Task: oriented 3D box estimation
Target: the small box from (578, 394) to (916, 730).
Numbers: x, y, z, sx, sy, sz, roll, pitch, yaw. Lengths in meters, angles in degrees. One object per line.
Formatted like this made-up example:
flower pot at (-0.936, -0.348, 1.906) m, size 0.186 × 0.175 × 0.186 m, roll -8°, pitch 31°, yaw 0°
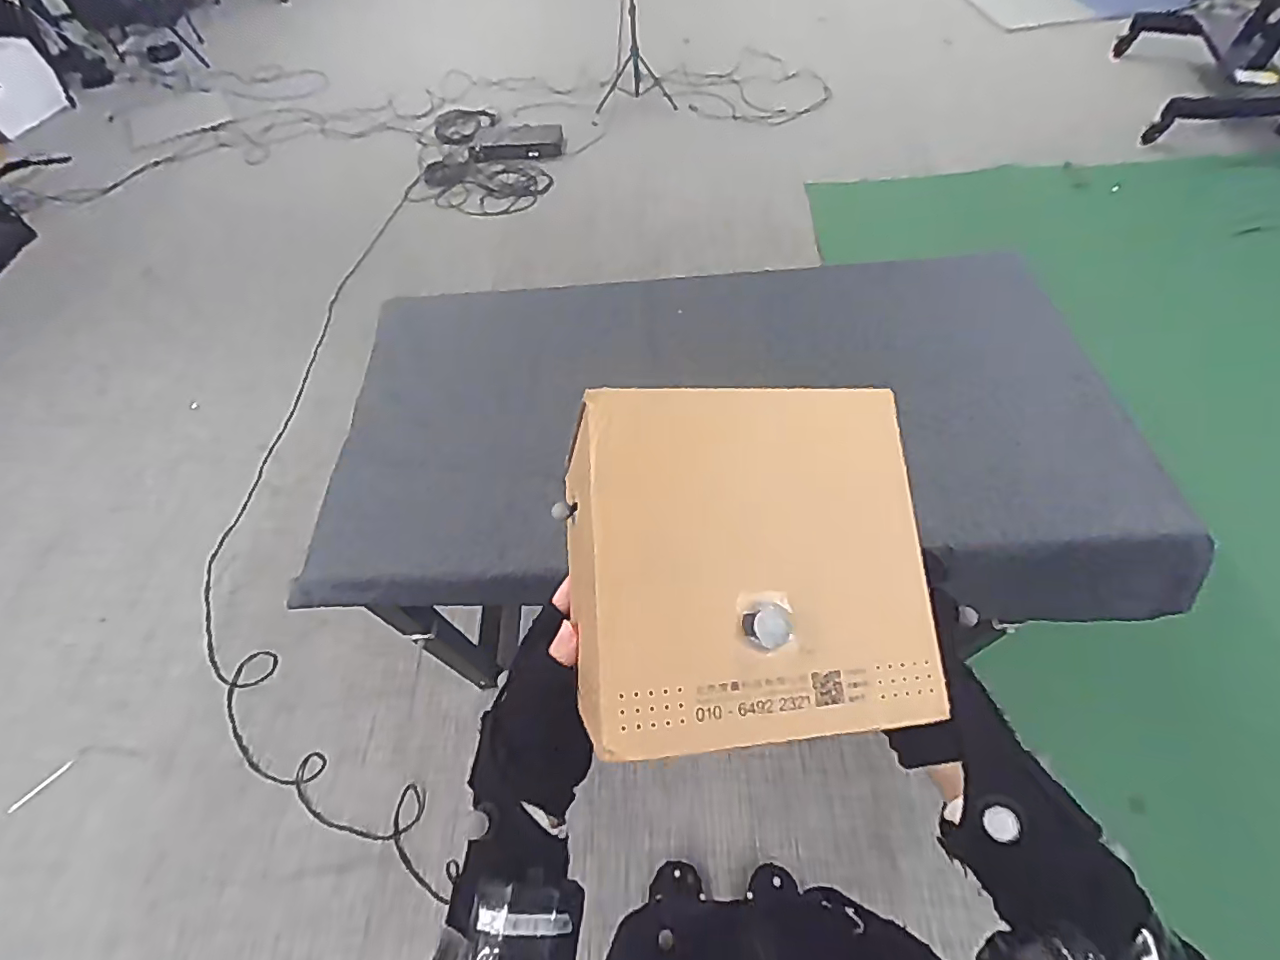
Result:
small box at (0.045, 0.055, 0.354) m, size 0.168 × 0.179 × 0.176 m, roll -1°, pitch 77°, yaw -10°
